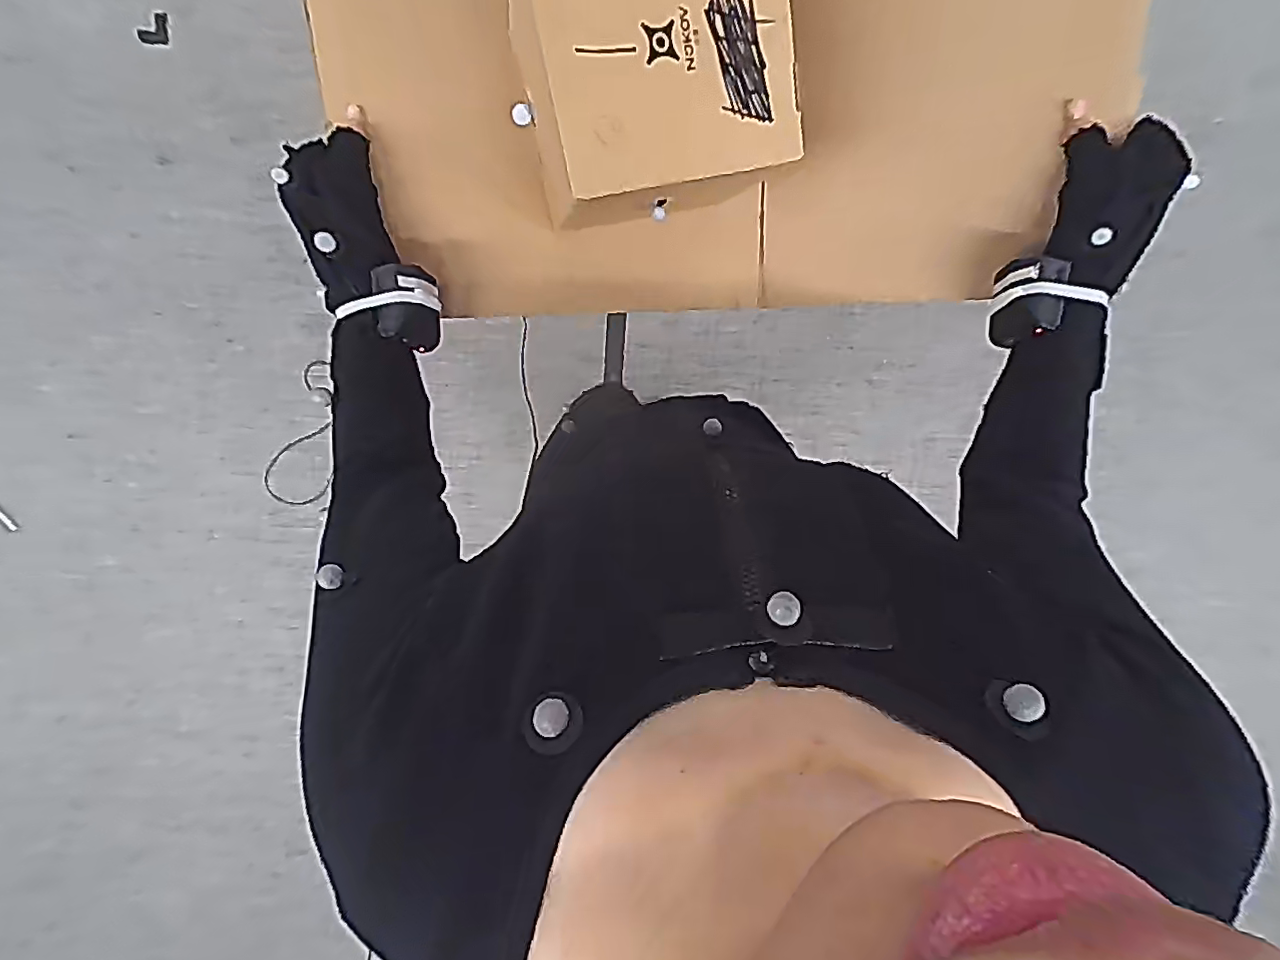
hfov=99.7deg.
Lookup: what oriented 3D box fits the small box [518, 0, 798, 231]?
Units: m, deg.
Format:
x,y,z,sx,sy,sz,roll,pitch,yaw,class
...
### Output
x,y,z,sx,sy,sz,roll,pitch,yaw,class
0.005,-0.315,0.443,0.179,0.176,0.168,-15,109,-8,small box
